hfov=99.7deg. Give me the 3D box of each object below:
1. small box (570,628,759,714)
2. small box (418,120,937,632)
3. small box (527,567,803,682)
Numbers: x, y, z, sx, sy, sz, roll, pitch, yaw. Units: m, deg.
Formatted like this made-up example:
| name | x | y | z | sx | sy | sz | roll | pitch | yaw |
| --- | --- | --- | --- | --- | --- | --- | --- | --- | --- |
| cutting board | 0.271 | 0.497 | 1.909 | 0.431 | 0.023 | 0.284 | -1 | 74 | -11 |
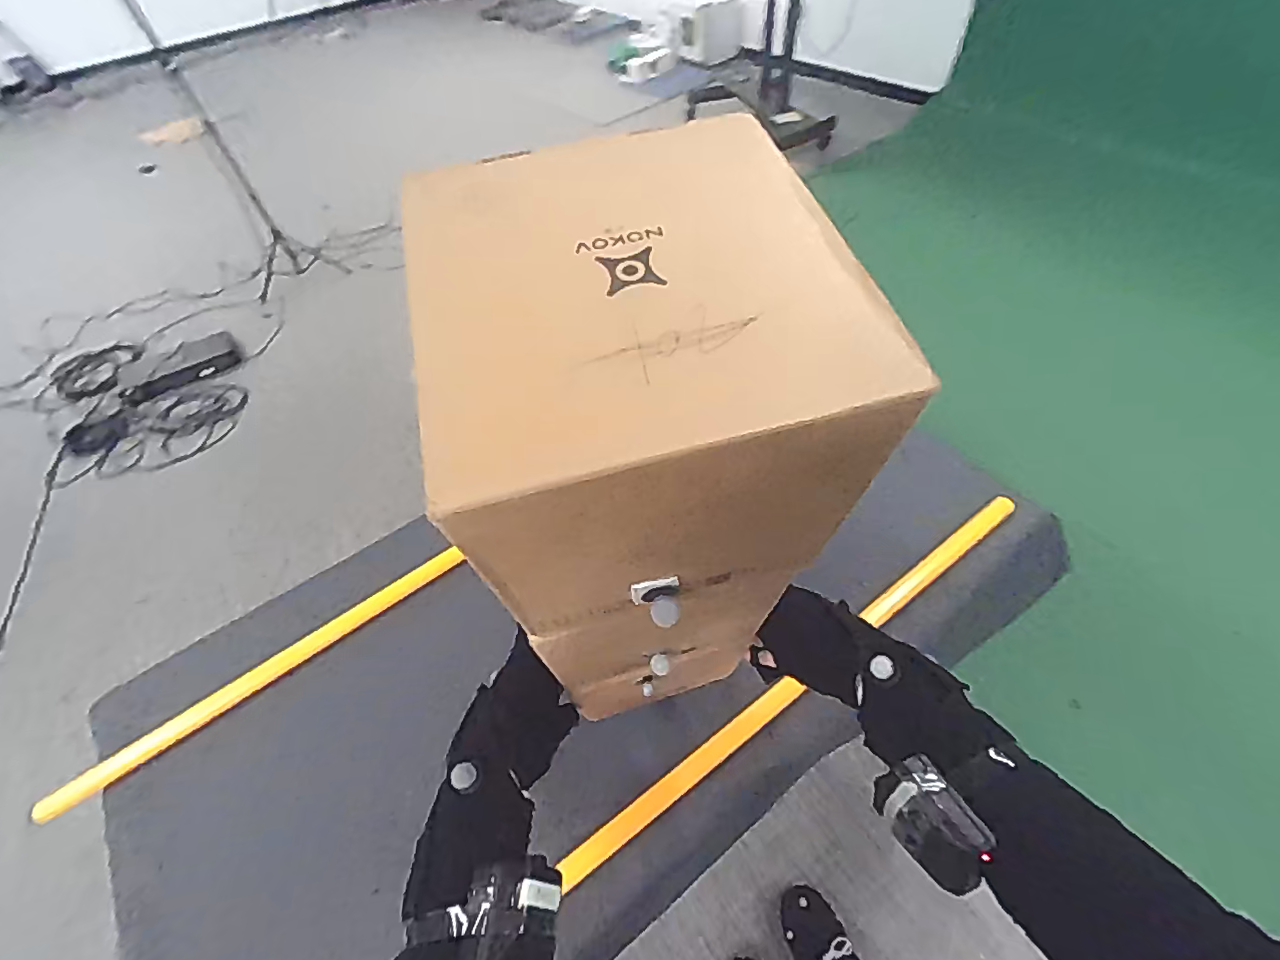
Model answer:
| name | x | y | z | sx | sy | sz | roll | pitch | yaw |
| --- | --- | --- | --- | --- | --- | --- | --- | --- | --- |
| small box | 0.003 | 0.123 | 0.563 | 0.168 | 0.176 | 0.179 | -16 | 61 | -7 |
| small box | 0.002 | -0.042 | 0.280 | 0.168 | 0.176 | 0.179 | -14 | 62 | -5 |
| small box | -0.001 | 0.038 | 0.421 | 0.168 | 0.176 | 0.179 | -14 | 62 | -6 |
